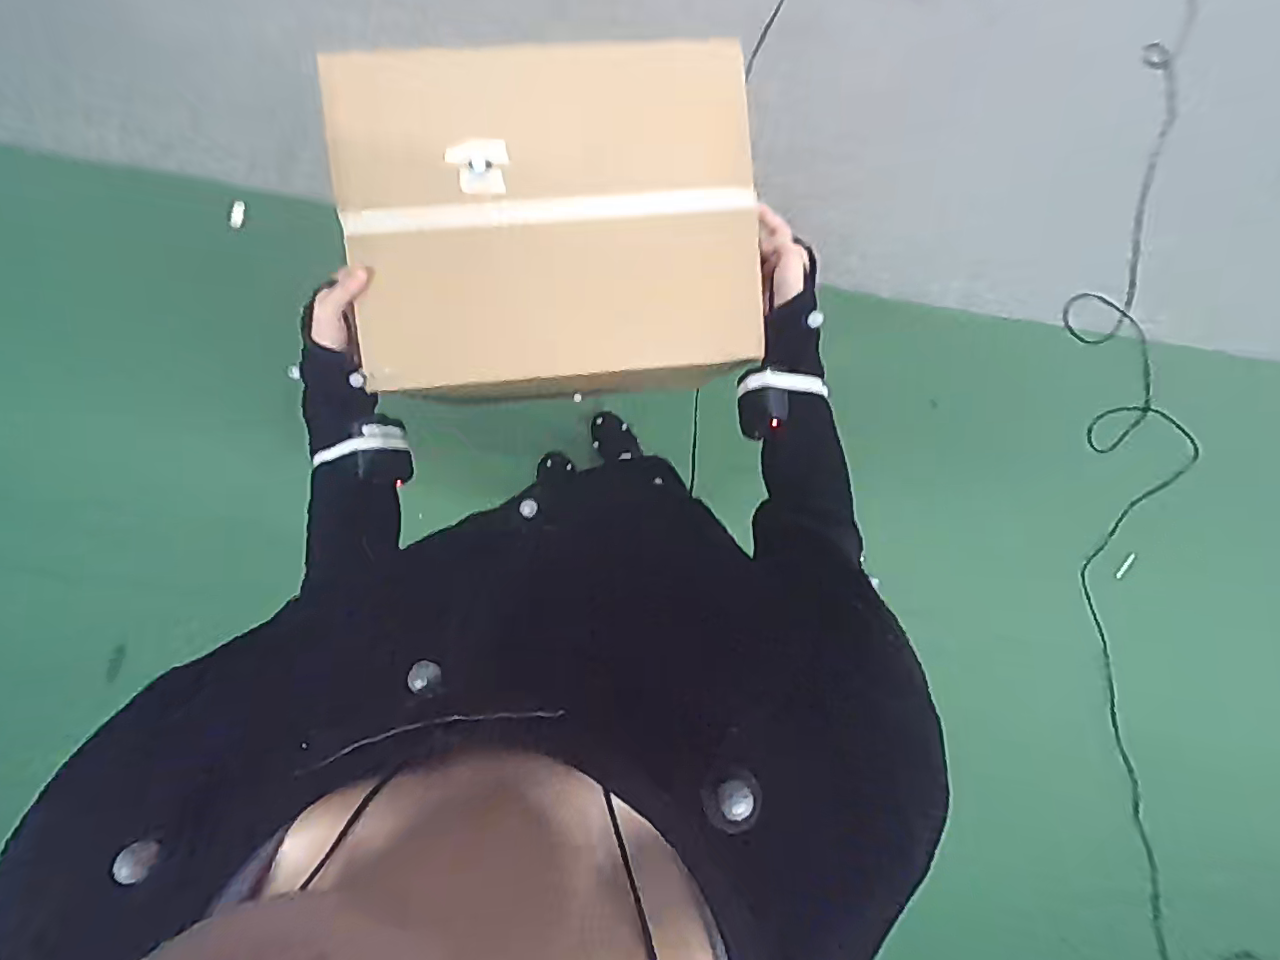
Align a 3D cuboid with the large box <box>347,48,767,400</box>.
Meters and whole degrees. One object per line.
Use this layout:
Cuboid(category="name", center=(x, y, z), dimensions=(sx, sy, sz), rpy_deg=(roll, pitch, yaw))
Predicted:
Cuboid(category="large box", center=(-0.083, -0.279, 0.694), dimensions=(0.408, 0.320, 0.320), rpy_deg=(-5, 94, -4))
